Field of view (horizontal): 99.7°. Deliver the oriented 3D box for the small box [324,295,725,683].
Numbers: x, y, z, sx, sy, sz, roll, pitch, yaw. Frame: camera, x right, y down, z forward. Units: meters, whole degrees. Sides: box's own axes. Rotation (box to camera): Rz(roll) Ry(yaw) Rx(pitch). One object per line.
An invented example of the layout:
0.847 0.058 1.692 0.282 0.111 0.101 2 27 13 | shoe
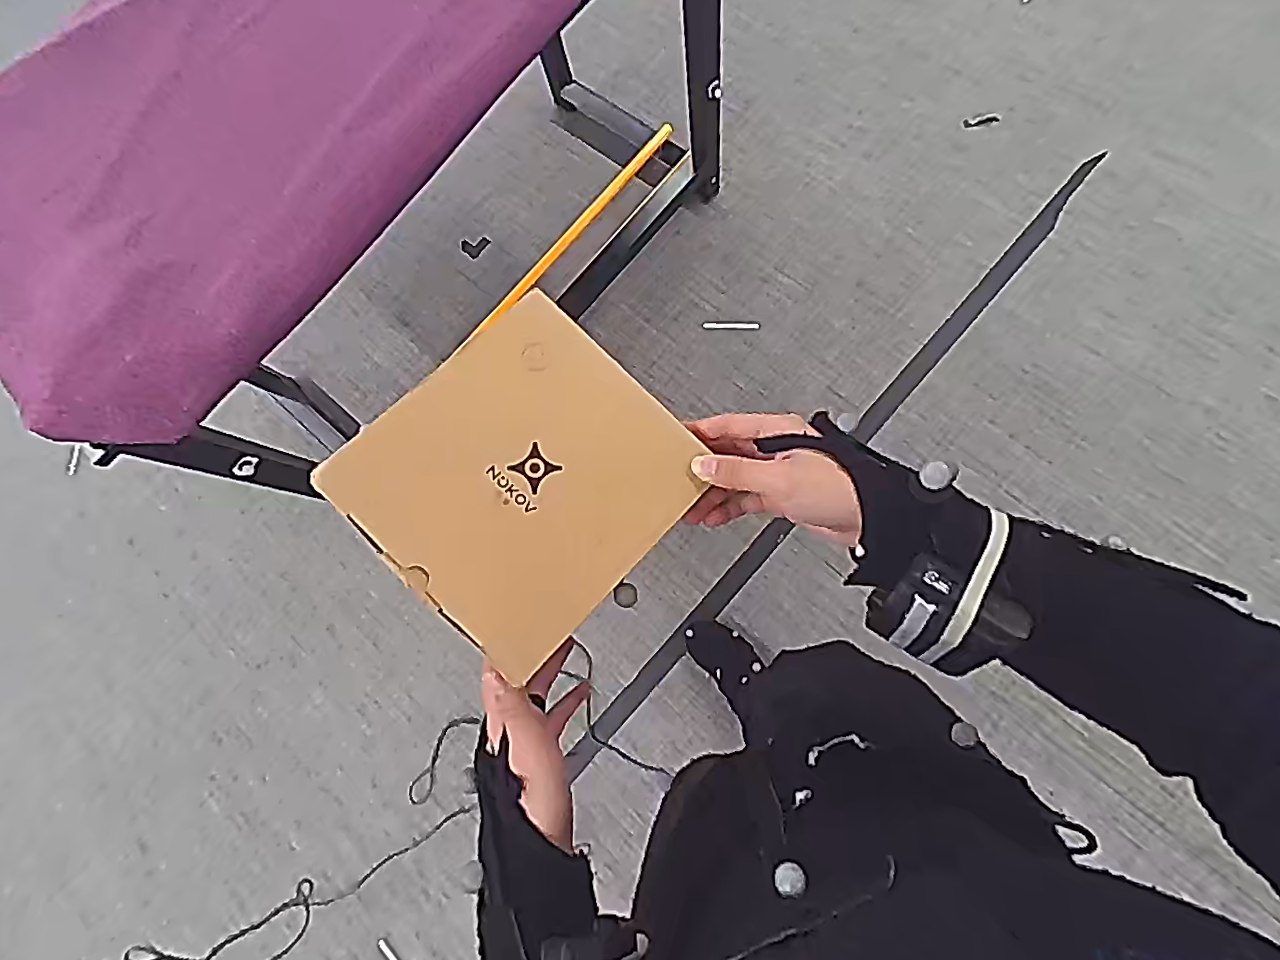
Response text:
-0.073 0.012 0.393 0.168 0.176 0.179 44 77 3 | small box
